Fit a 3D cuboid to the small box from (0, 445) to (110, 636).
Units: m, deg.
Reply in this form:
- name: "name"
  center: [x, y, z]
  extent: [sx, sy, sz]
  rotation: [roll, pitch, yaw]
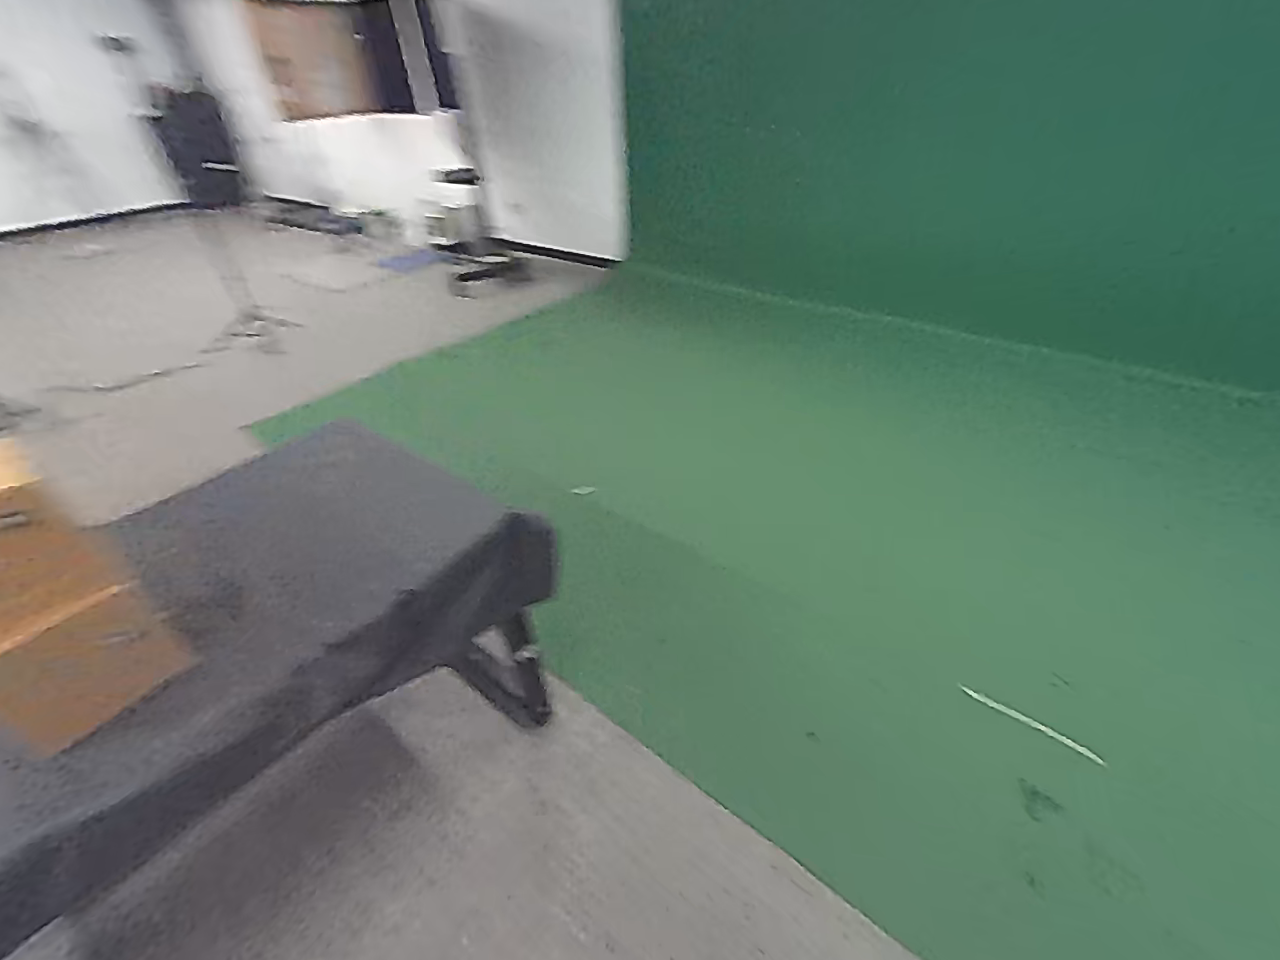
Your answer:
- name: "small box"
  center: [-0.791, 0.085, 0.629]
  extent: [0.168, 0.176, 0.179]
  rotation: [23, 43, 30]
